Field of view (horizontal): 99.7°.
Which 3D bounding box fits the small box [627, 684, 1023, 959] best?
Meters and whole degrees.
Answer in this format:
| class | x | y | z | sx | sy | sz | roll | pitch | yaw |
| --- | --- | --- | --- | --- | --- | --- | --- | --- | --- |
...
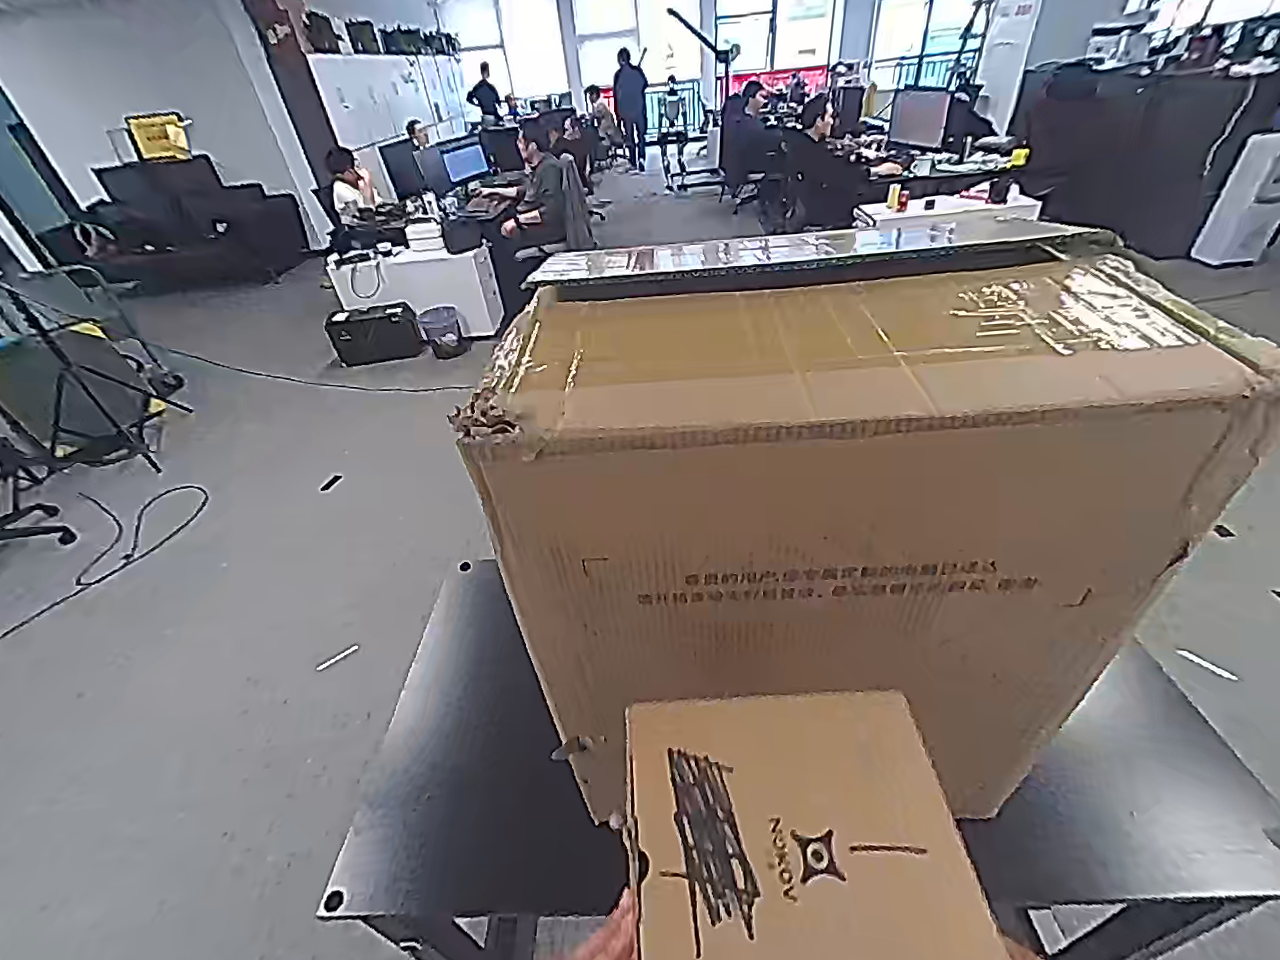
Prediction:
| class | x | y | z | sx | sy | sz | roll | pitch | yaw |
| --- | --- | --- | --- | --- | --- | --- | --- | --- | --- |
| small box | 0.083 | 0.241 | 0.329 | 0.179 | 0.176 | 0.168 | -1 | 47 | -4 |
